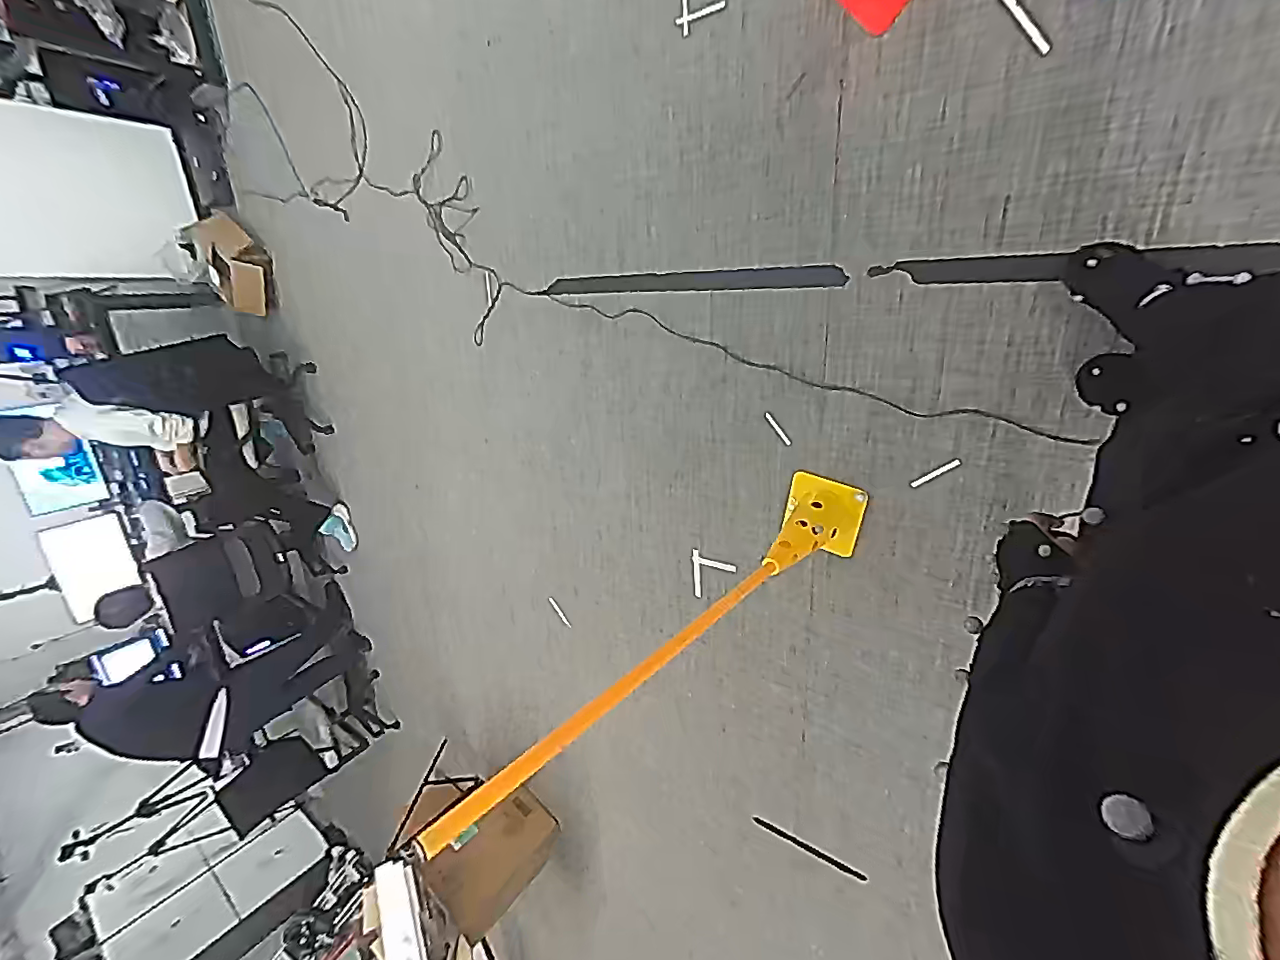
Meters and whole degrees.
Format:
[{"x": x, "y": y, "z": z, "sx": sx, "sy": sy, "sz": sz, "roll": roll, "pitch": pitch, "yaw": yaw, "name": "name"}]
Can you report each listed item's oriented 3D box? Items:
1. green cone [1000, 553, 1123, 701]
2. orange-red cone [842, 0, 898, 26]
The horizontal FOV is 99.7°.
[{"x": 0.792, "y": 0.299, "z": 1.034, "sx": 0.202, "sy": 0.368, "sz": 0.200, "roll": -4, "pitch": 104, "yaw": 41, "name": "green cone"}, {"x": 0.359, "y": -0.971, "z": 0.904, "sx": 0.199, "sy": 0.360, "sz": 0.198, "roll": 52, "pitch": 132, "yaw": 9, "name": "orange-red cone"}]
